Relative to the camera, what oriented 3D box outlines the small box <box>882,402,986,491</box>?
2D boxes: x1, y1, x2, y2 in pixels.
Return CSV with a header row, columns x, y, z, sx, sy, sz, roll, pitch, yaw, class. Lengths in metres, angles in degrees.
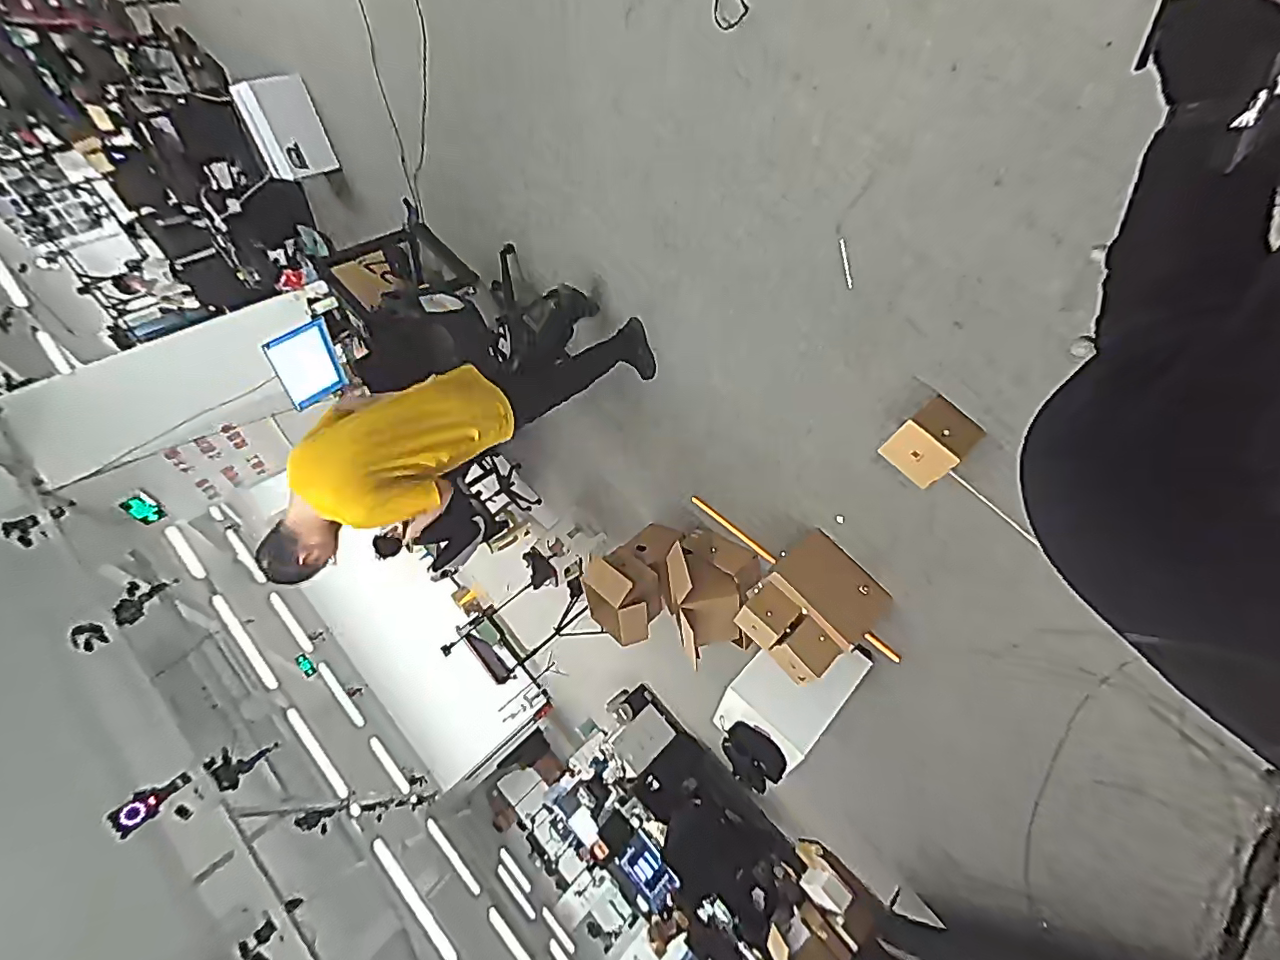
x,y,z,sx,sy,sz,roll,pitch,yaw,class
0.858,-0.106,1.580,0.179,0.176,0.168,44,151,14,small box
